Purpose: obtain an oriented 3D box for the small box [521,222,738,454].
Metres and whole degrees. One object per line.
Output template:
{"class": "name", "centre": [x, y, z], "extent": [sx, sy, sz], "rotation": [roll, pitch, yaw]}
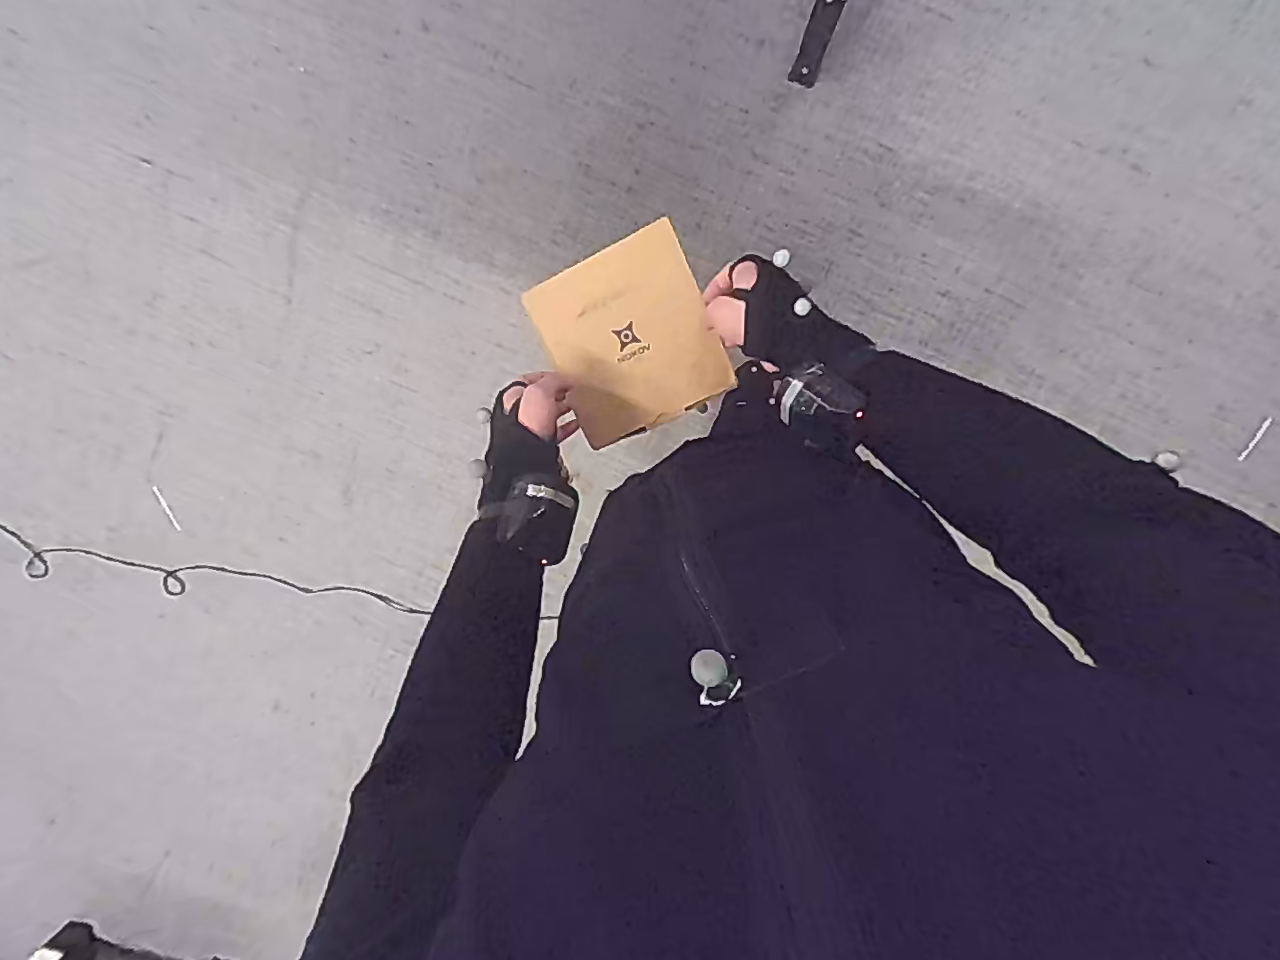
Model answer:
{"class": "small box", "centre": [0.000, -0.151, 0.608], "extent": [0.168, 0.176, 0.179], "rotation": [-25, 97, 11]}
